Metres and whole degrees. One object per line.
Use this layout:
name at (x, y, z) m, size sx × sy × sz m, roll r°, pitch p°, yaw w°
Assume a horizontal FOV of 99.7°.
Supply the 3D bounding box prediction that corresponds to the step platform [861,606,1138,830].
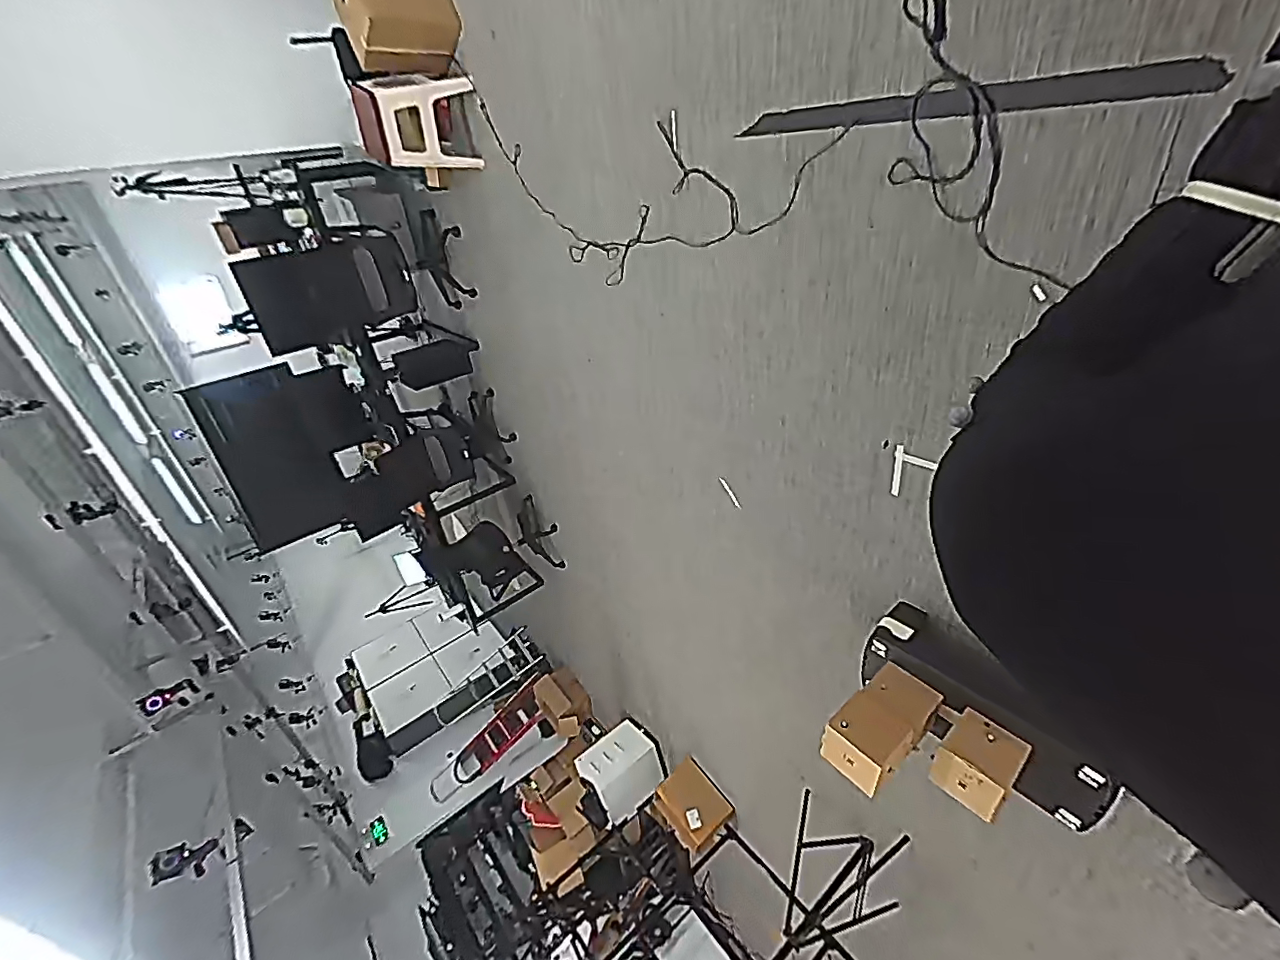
step platform at (1.018, 0.685, 1.629) m, size 0.684 × 0.204 × 0.286 m, roll 28°, pitch 137°, yaw 44°

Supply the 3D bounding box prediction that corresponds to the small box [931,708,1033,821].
small box at (0.934, 0.771, 1.477) m, size 0.168 × 0.176 × 0.179 m, roll 31°, pitch 138°, yaw 43°

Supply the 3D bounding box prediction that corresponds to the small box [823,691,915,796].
small box at (0.661, 0.752, 1.561) m, size 0.179 × 0.176 × 0.168 m, roll 33°, pitch 140°, yaw 43°
